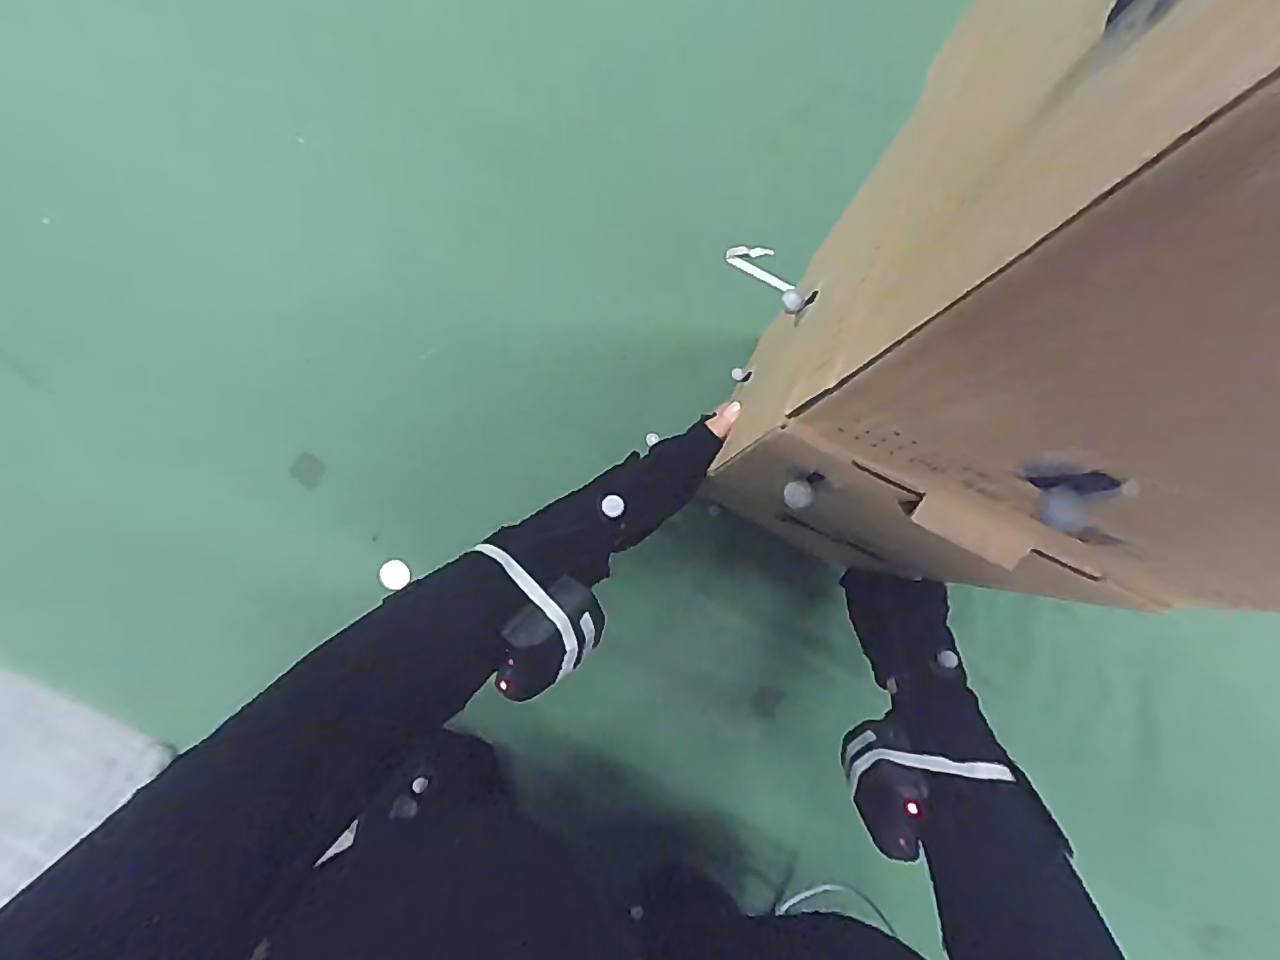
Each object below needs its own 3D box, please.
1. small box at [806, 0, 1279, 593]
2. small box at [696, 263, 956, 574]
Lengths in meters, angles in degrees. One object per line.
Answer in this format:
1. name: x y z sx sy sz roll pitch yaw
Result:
1. small box: 0.166 -0.078 0.138 0.168 0.176 0.179 24 84 0
2. small box: 0.158 -0.039 0.463 0.168 0.176 0.179 27 84 1
